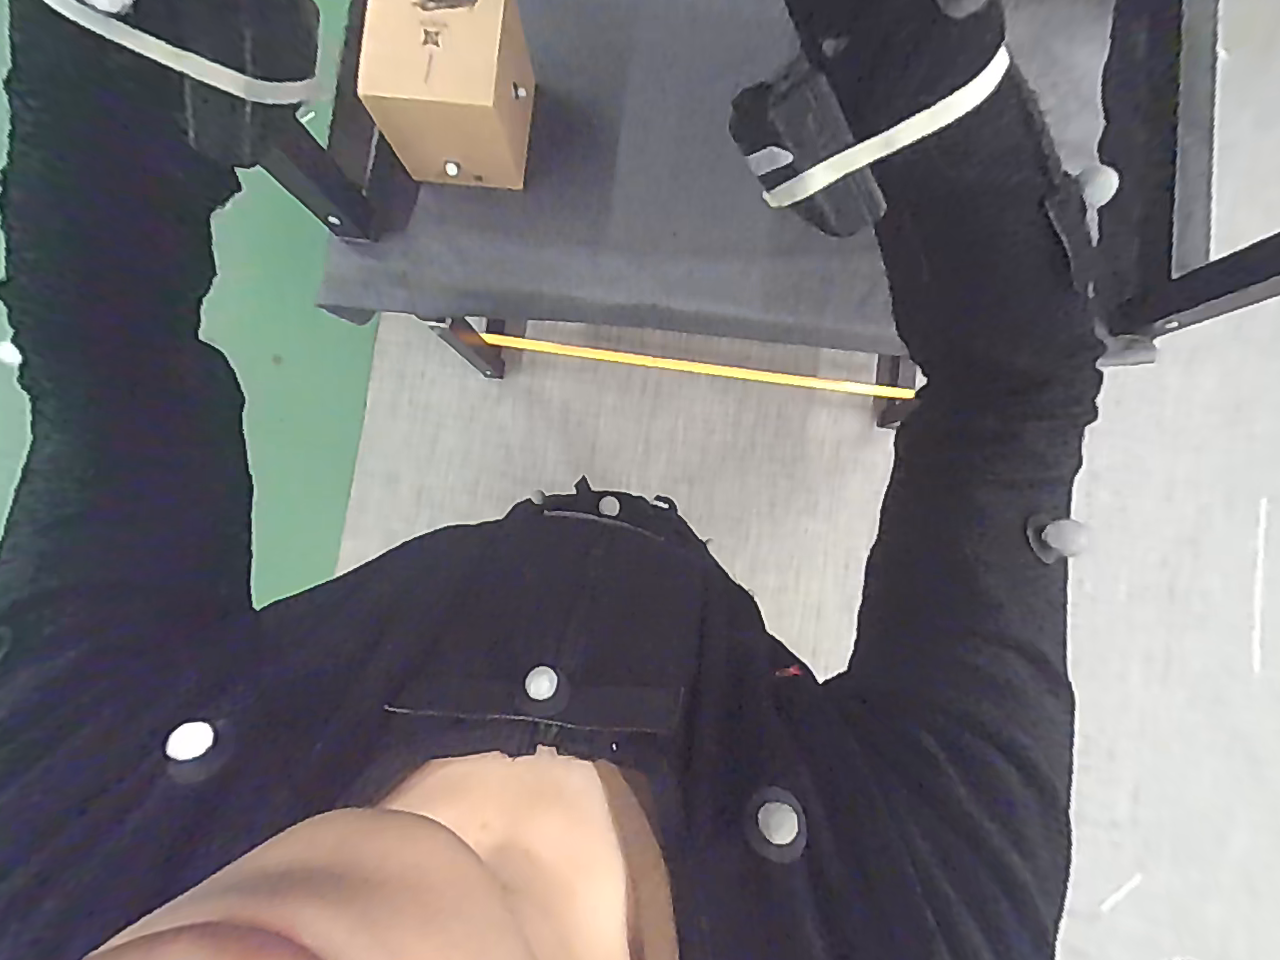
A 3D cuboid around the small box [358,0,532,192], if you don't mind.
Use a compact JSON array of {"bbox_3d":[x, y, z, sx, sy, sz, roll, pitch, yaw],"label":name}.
[{"bbox_3d":[-0.245,-0.525,0.724,0.168,0.176,0.179,5,86,0],"label":"small box"}]
